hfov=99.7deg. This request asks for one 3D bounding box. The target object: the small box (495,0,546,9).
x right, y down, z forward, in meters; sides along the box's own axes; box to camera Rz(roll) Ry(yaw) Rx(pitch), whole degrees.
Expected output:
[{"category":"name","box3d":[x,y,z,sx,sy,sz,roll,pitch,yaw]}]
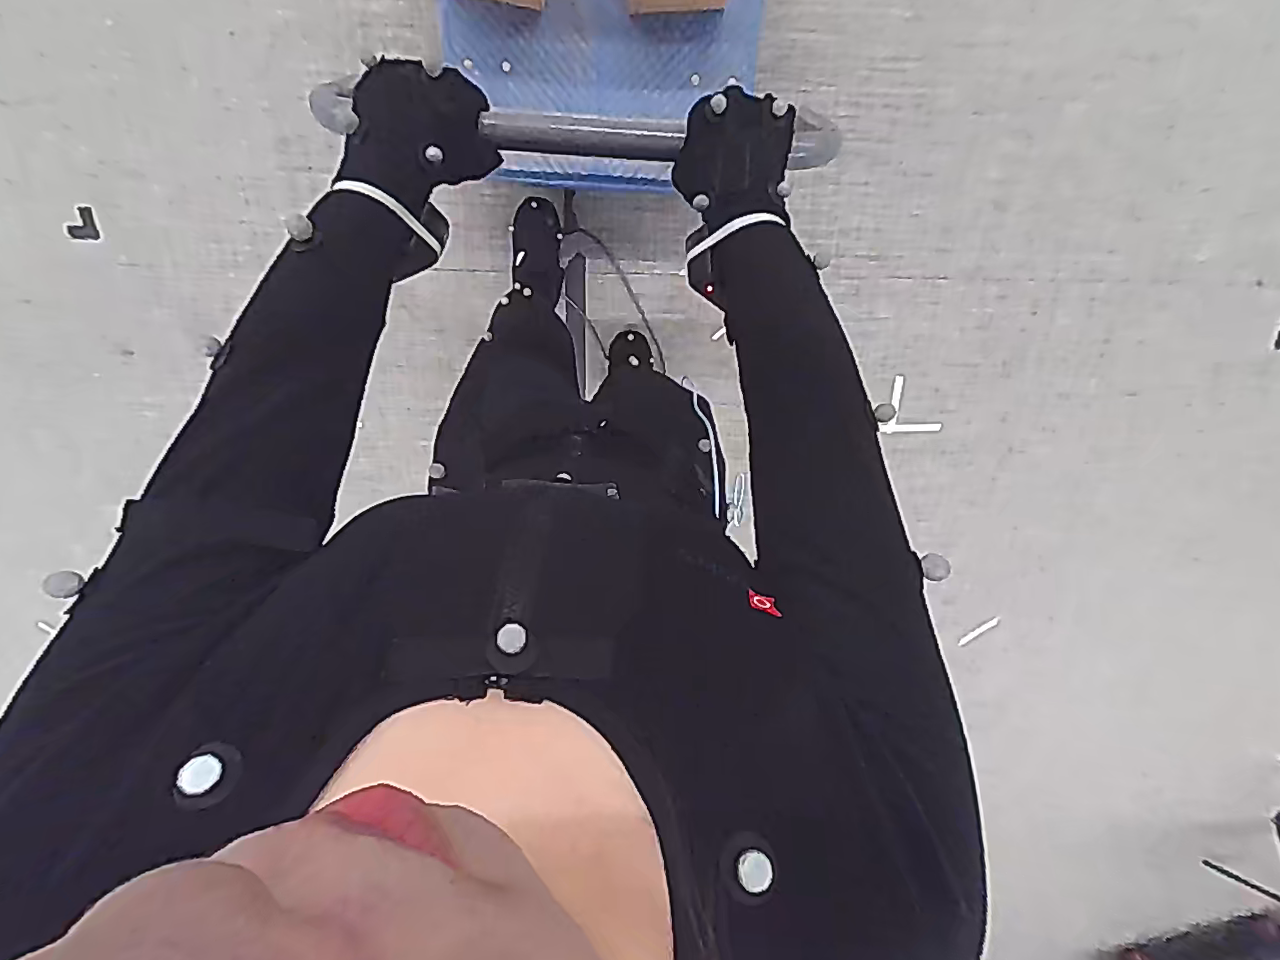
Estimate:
[{"category":"small box","box3d":[-0.239,-0.891,0.856,0.179,0.176,0.168,6,113,-7]}]

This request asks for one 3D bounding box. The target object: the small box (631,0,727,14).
[{"category":"small box","box3d":[0.067,-0.883,0.869,0.179,0.176,0.168,-3,115,0]}]
